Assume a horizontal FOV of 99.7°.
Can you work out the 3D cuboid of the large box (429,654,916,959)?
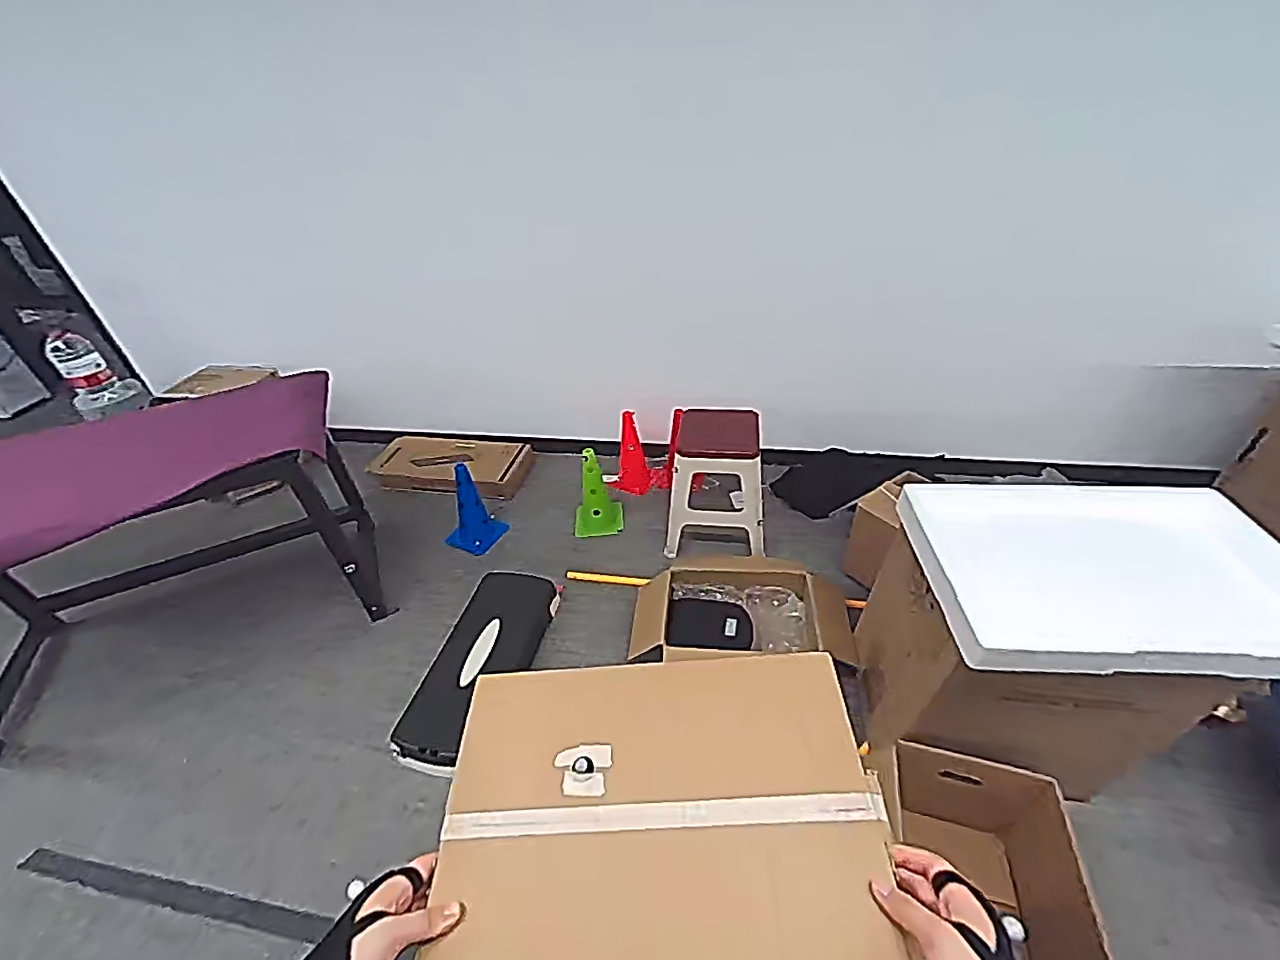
[{"bbox_3d":[0.039,0.431,0.609,0.408,0.320,0.320,-8,41,6],"label":"large box"}]
